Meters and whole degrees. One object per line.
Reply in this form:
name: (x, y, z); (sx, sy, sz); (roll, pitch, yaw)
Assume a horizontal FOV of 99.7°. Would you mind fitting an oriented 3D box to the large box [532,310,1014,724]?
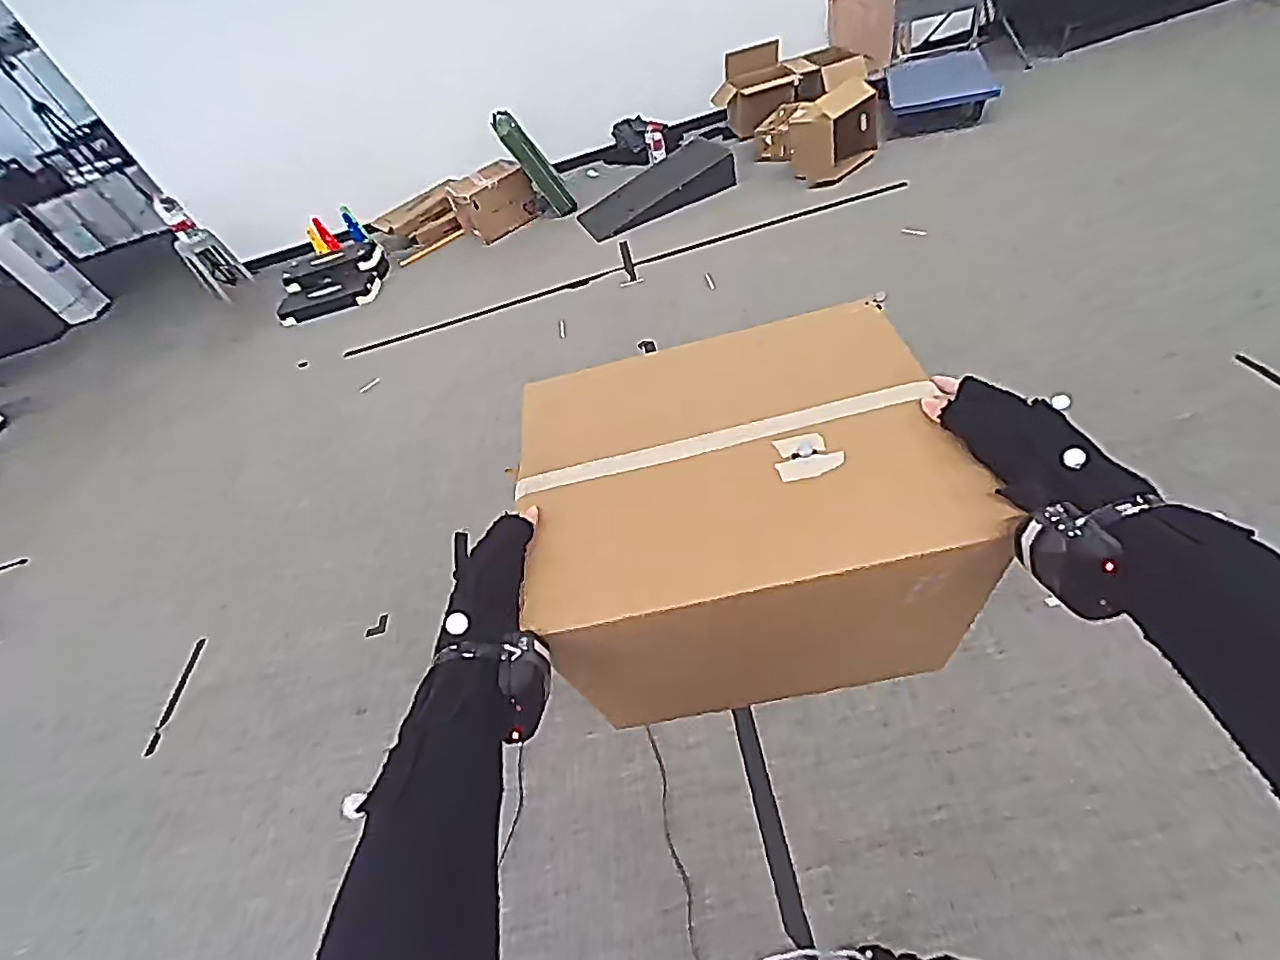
large box: (0.113, 0.058, 0.646); (0.408, 0.320, 0.320); (-13, 51, 4)
